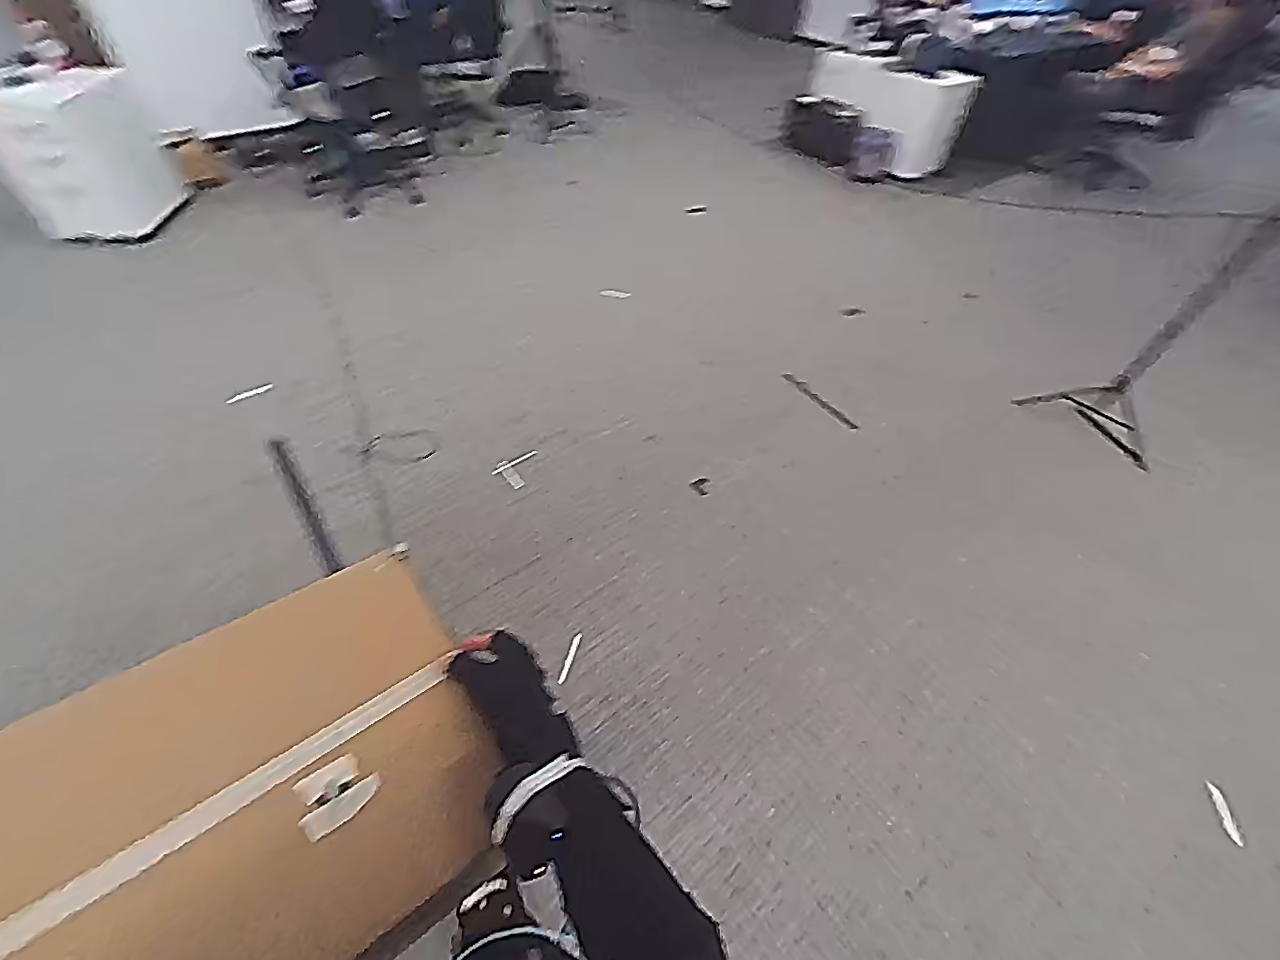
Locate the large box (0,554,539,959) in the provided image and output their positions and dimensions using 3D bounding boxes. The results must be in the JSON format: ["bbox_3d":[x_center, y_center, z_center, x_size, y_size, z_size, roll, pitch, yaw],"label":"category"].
[{"bbox_3d":[-0.362,0.360,0.580,0.408,0.320,0.320,-28,63,-30],"label":"large box"}]
